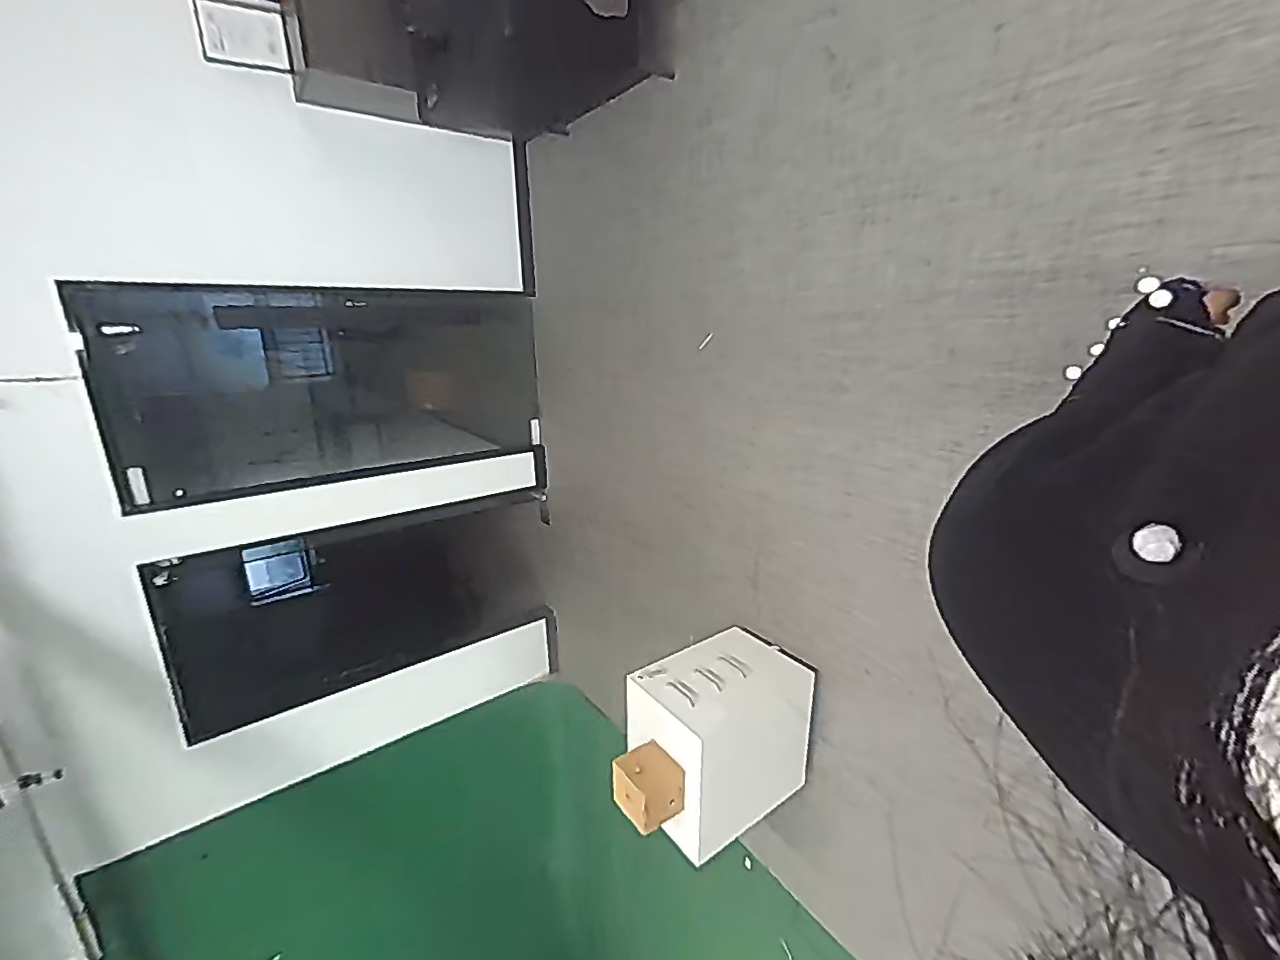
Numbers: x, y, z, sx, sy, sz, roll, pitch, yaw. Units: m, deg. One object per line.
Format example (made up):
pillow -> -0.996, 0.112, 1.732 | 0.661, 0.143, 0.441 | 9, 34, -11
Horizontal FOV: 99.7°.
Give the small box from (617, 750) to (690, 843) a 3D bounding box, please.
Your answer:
small box -> 0.041, 1.009, 1.747 | 0.179, 0.176, 0.168 | 20, 115, 52
